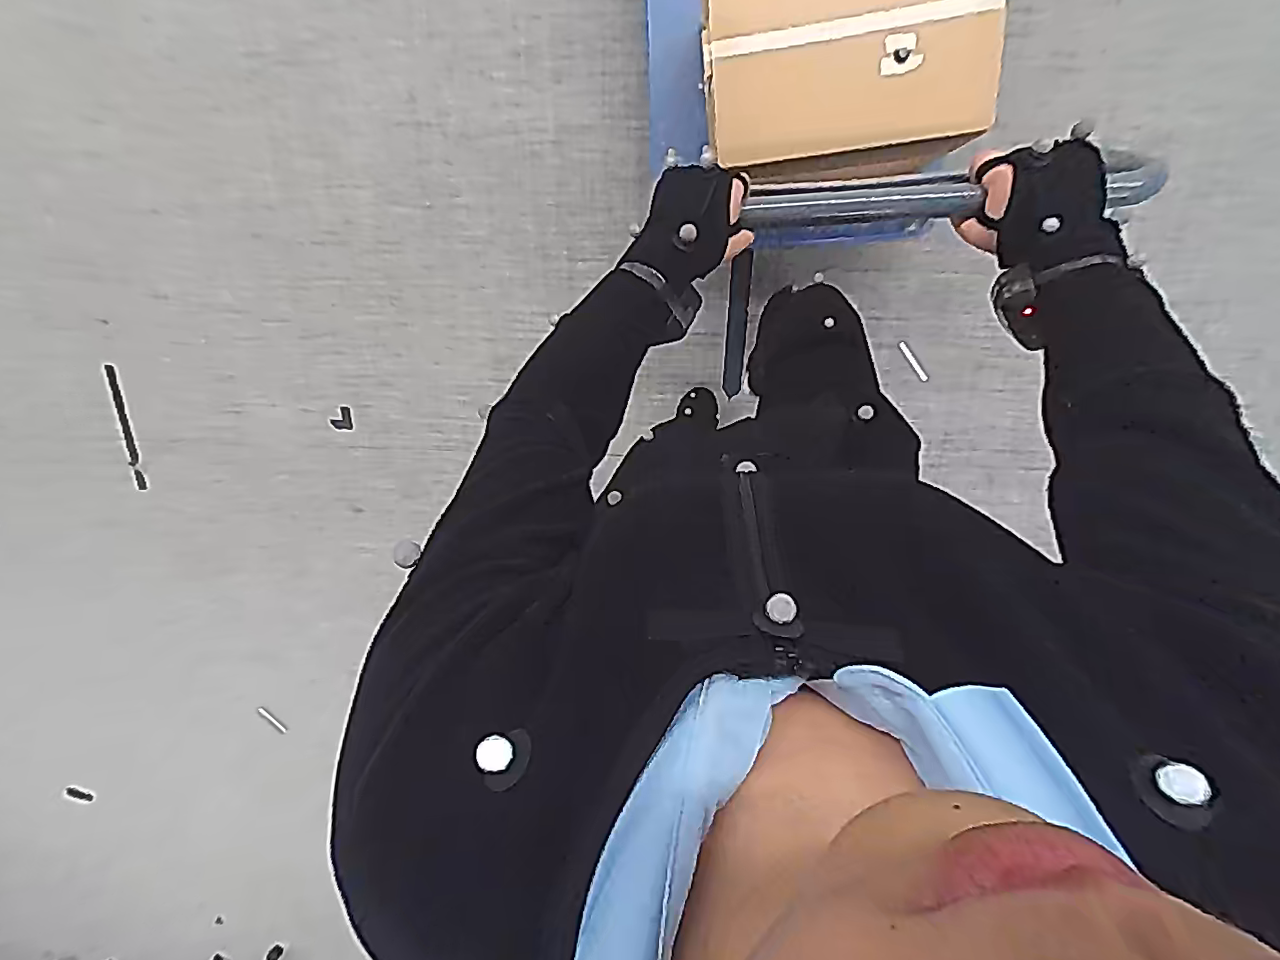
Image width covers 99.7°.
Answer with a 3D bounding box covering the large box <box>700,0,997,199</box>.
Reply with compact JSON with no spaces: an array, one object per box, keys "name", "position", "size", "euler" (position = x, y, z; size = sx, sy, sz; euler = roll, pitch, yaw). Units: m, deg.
[{"name":"large box","position":[0.318,-0.701,0.924],"size":[0.408,0.320,0.320],"euler":[-5,109,7]}]
